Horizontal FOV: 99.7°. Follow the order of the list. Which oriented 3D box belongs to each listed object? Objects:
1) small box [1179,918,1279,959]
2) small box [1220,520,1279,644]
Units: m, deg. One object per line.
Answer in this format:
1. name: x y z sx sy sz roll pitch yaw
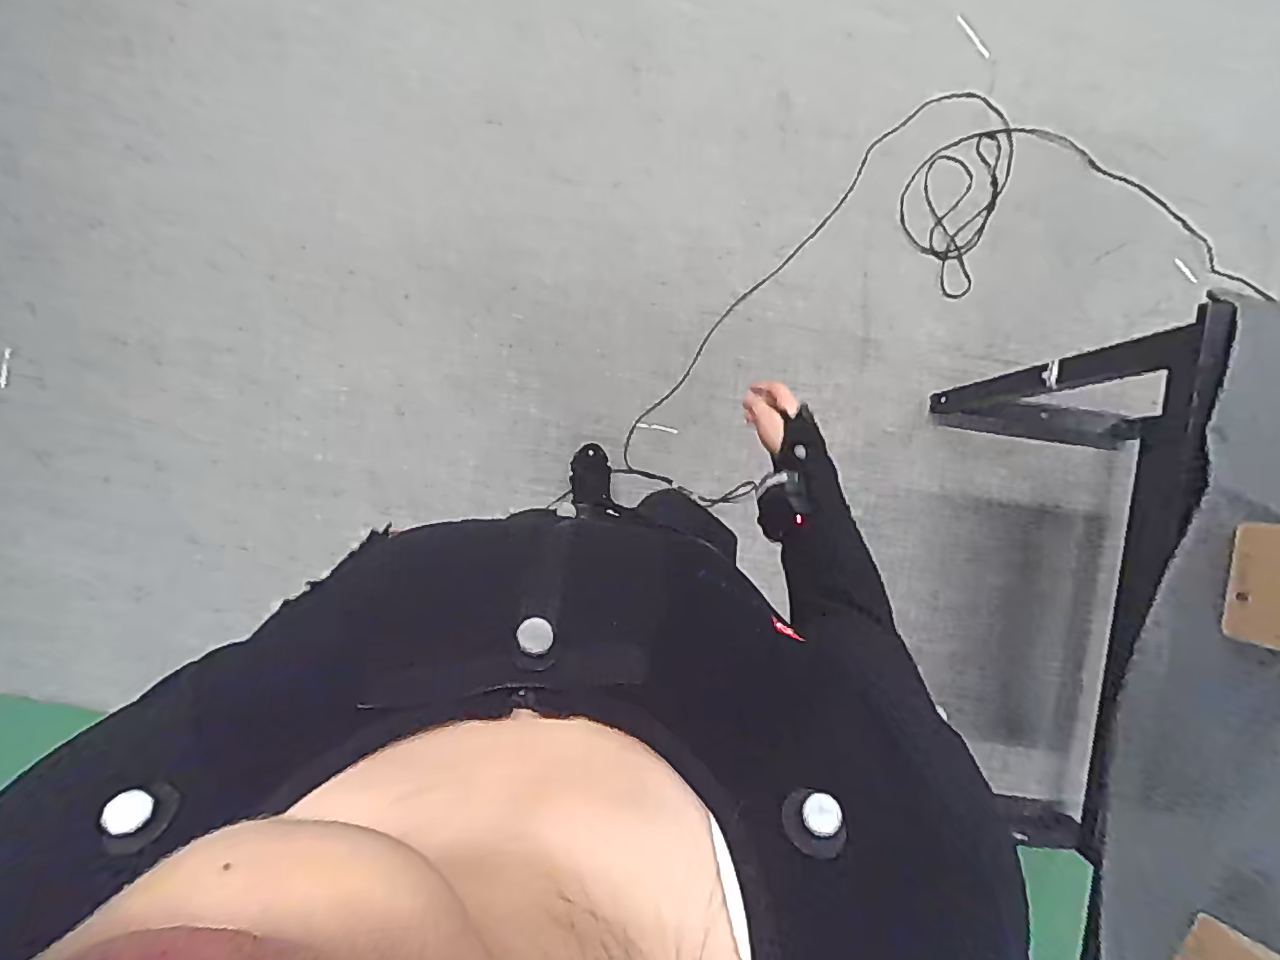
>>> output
1. small box: 0.839 0.723 0.694 0.179 0.176 0.168 29 90 -4
2. small box: 0.931 0.148 0.696 0.179 0.176 0.168 9 90 -2
